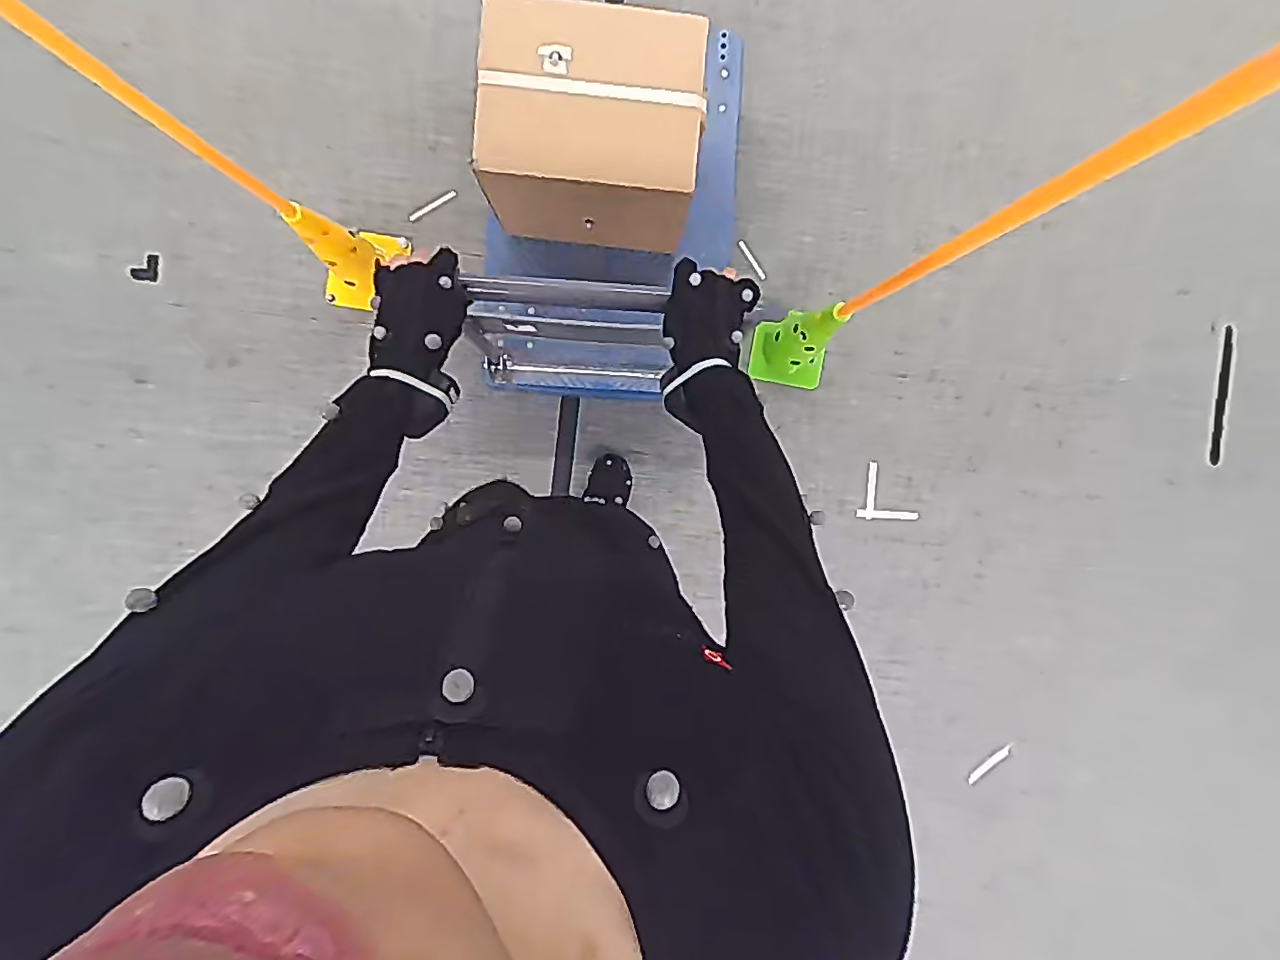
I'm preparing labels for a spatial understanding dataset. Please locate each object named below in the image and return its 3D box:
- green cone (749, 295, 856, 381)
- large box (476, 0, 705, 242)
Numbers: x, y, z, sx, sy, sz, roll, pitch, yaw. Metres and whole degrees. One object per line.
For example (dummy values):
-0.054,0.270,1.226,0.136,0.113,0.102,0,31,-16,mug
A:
0.417,-0.372,1.306,0.202,0.368,0.200,10,93,-4,green cone
-0.092,-0.715,1.124,0.408,0.320,0.320,5,93,-2,large box
